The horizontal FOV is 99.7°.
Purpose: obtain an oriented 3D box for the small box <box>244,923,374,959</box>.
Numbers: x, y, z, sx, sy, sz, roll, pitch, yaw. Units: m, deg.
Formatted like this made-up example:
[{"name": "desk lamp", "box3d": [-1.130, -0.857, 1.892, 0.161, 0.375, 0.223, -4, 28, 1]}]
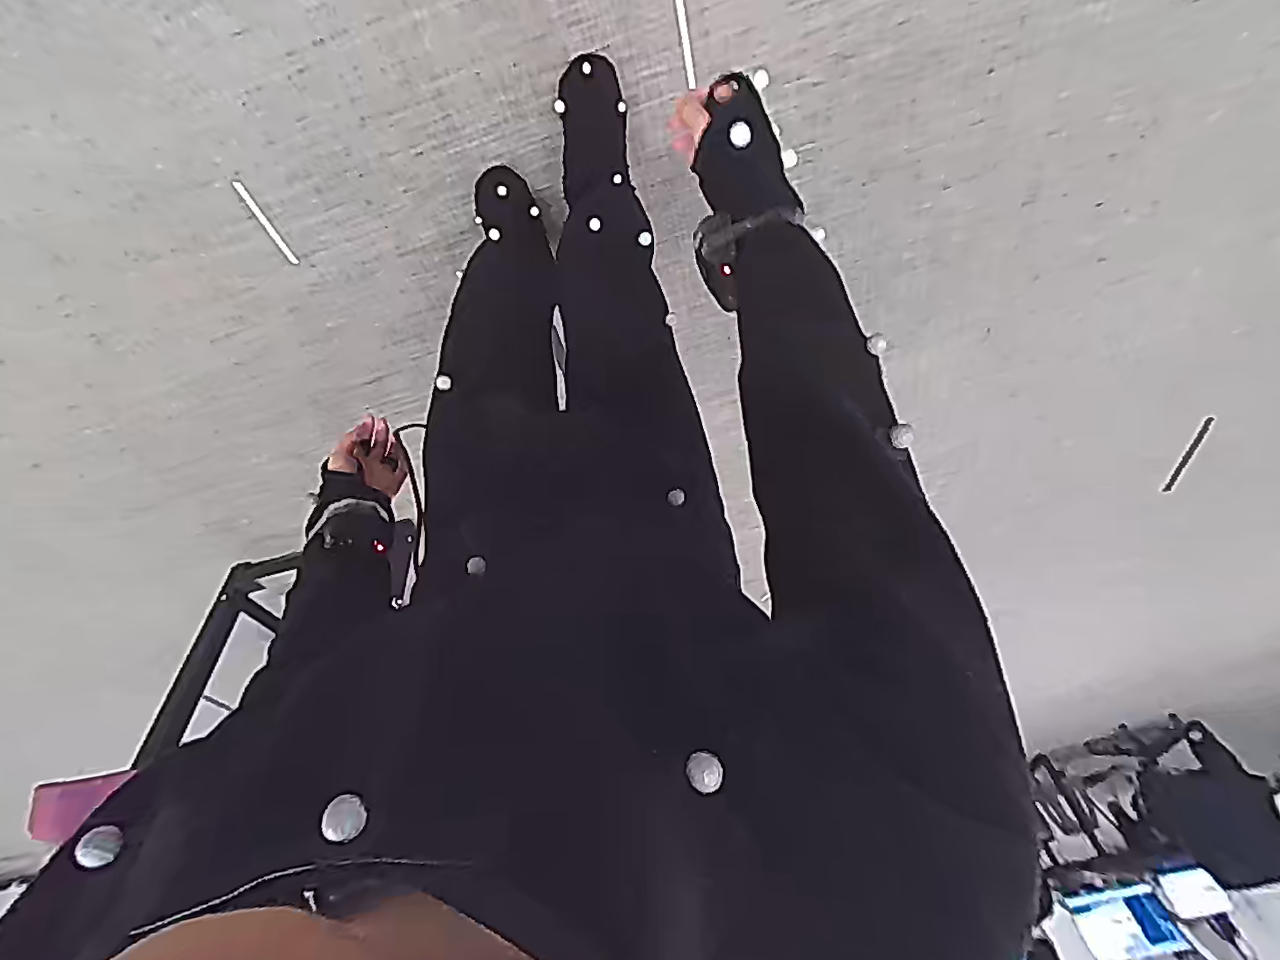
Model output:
[{"name": "small box", "box3d": [-0.607, 0.915, 0.971, 0.168, 0.176, 0.179, -5, 137, -2]}]
